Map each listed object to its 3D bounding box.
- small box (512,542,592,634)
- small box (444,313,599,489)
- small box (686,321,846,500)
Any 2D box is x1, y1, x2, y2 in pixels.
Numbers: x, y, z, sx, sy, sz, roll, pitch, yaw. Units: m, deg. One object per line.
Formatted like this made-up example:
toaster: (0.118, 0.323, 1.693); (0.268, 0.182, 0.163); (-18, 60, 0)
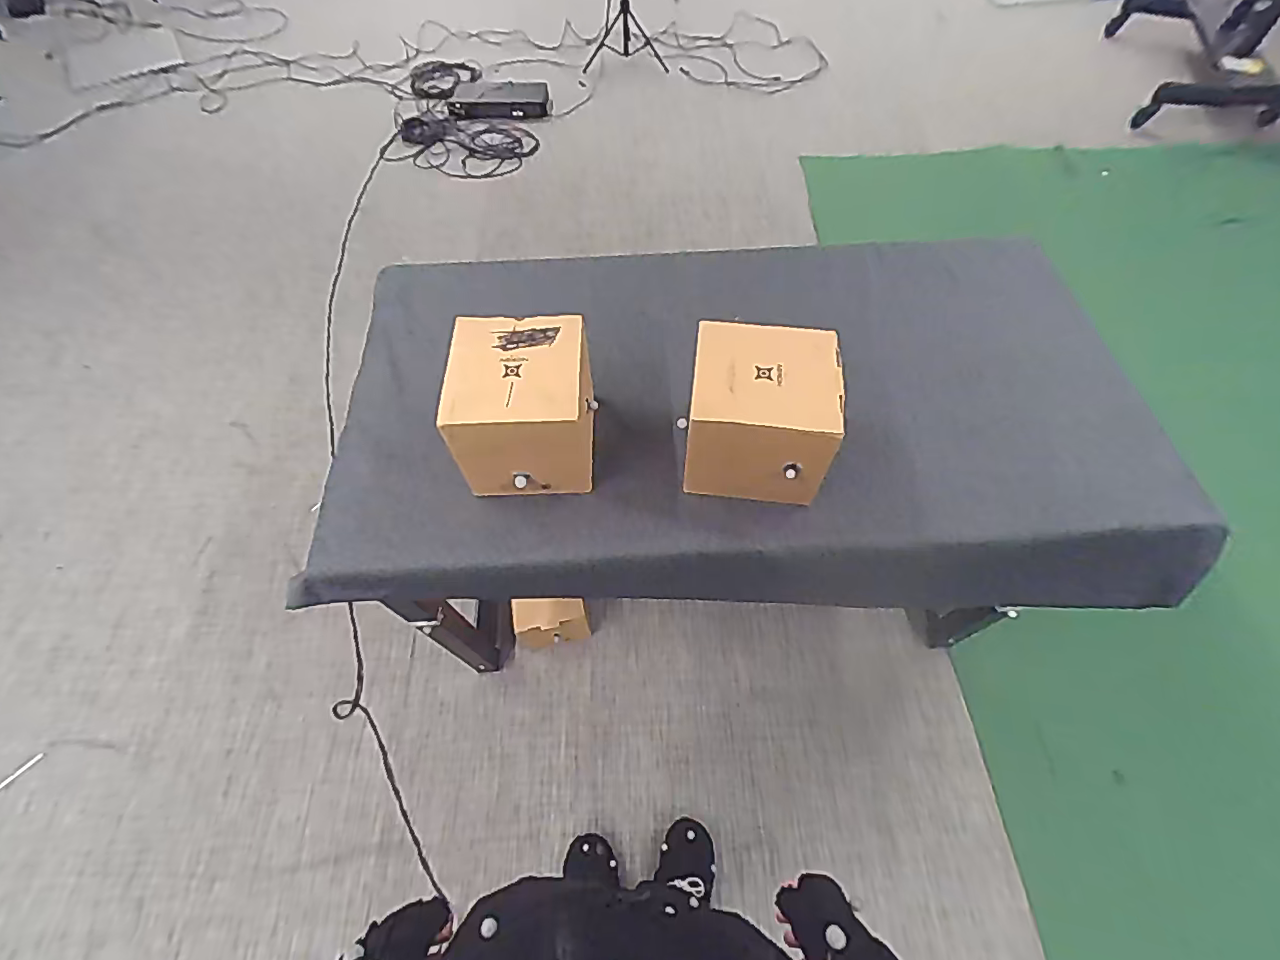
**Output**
small box: (-0.218, 0.277, 1.359); (0.168, 0.176, 0.179); (-10, 61, -5)
small box: (-0.146, -0.104, 0.733); (0.168, 0.176, 0.179); (-1, 60, 0)
small box: (0.159, -0.086, 0.722); (0.179, 0.176, 0.168); (6, 59, 6)
